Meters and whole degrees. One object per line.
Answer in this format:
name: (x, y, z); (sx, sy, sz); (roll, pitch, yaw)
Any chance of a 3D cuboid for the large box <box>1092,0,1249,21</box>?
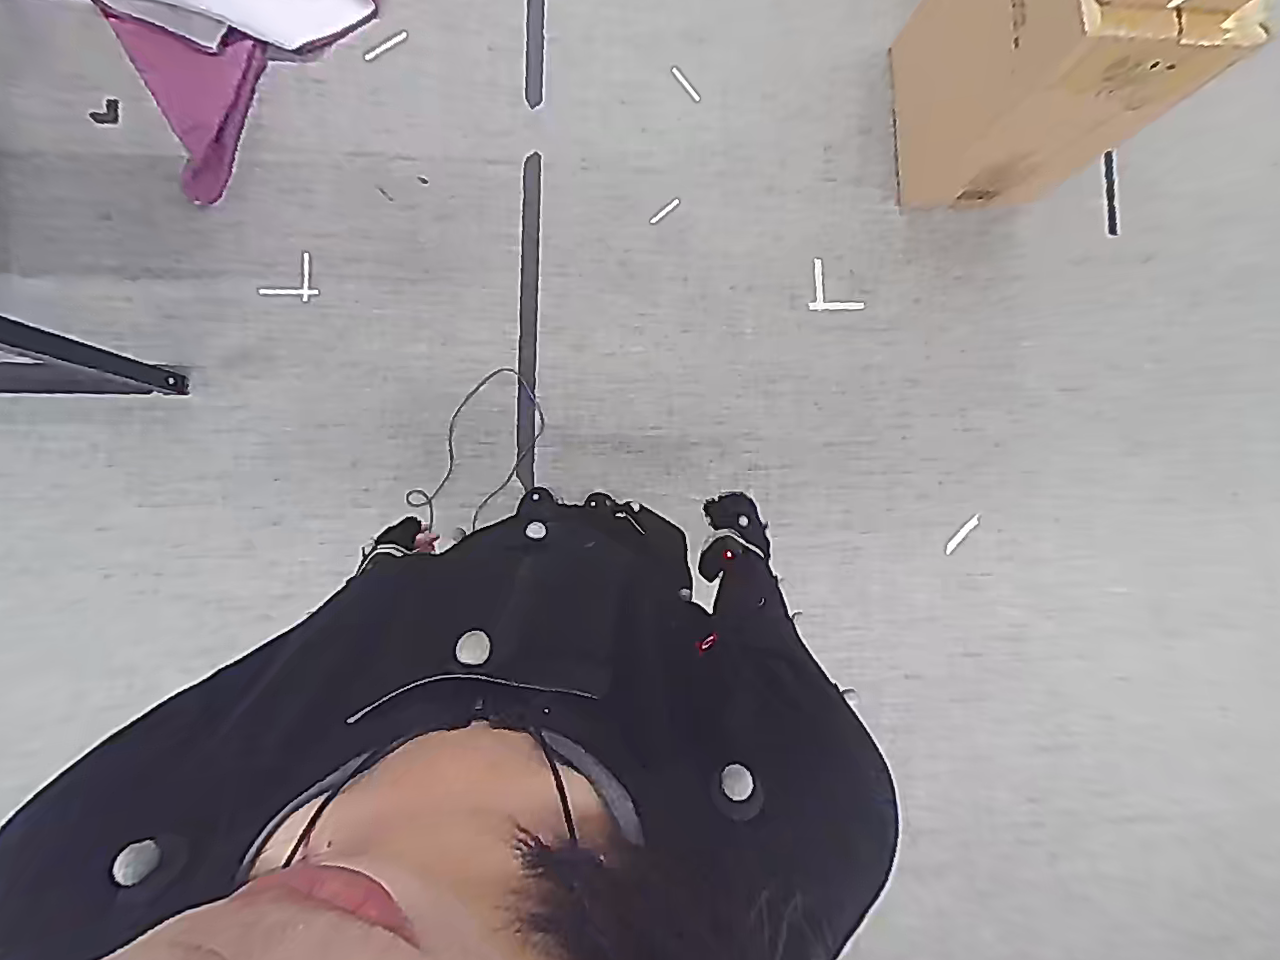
large box: (1.046, -1.131, 0.944); (0.320, 0.320, 0.408); (-3, 88, -6)
